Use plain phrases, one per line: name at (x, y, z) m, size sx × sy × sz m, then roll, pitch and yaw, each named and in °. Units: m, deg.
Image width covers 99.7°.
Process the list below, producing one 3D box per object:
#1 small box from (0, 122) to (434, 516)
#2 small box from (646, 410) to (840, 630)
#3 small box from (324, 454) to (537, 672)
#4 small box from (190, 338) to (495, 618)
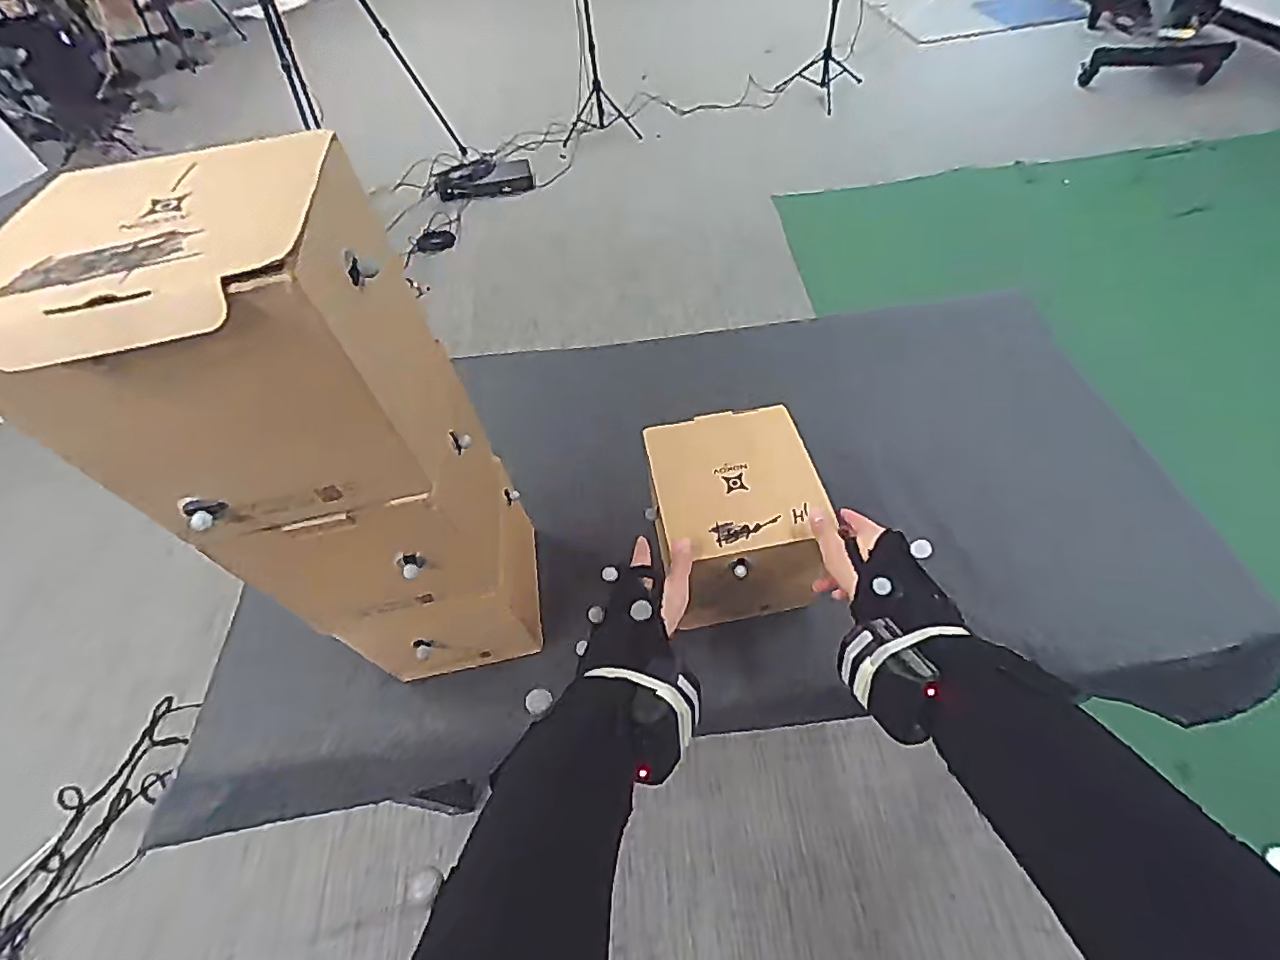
small box at (-0.244, -0.094, 0.349) m, size 0.168 × 0.176 × 0.179 m, roll -12°, pitch 52°, yaw -5°
small box at (0.102, 0.048, 0.619) m, size 0.168 × 0.176 × 0.179 m, roll -10°, pitch 53°, yaw -2°
small box at (-0.218, 0.101, 0.610) m, size 0.168 × 0.176 × 0.179 m, roll -11°, pitch 53°, yaw -3°
small box at (-0.232, 0.006, 0.479) m, size 0.168 × 0.176 × 0.179 m, roll -11°, pitch 52°, yaw -4°
